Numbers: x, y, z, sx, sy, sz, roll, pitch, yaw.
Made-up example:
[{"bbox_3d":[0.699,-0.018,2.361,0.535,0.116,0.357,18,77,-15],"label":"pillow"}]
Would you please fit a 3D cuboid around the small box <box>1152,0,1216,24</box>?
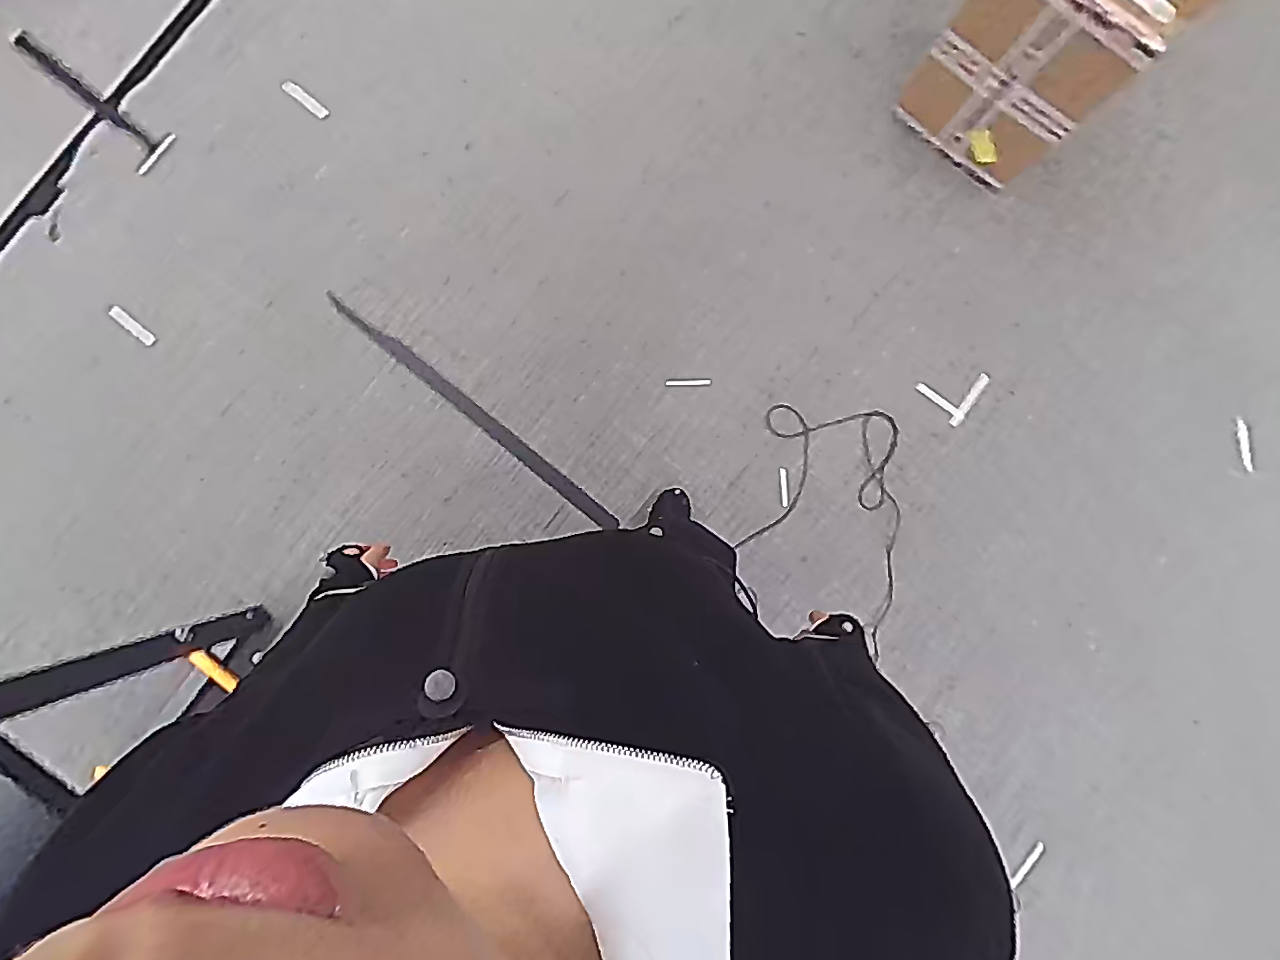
[{"bbox_3d":[1.086,-1.025,1.004,0.168,0.176,0.179,40,89,-1],"label":"small box"}]
